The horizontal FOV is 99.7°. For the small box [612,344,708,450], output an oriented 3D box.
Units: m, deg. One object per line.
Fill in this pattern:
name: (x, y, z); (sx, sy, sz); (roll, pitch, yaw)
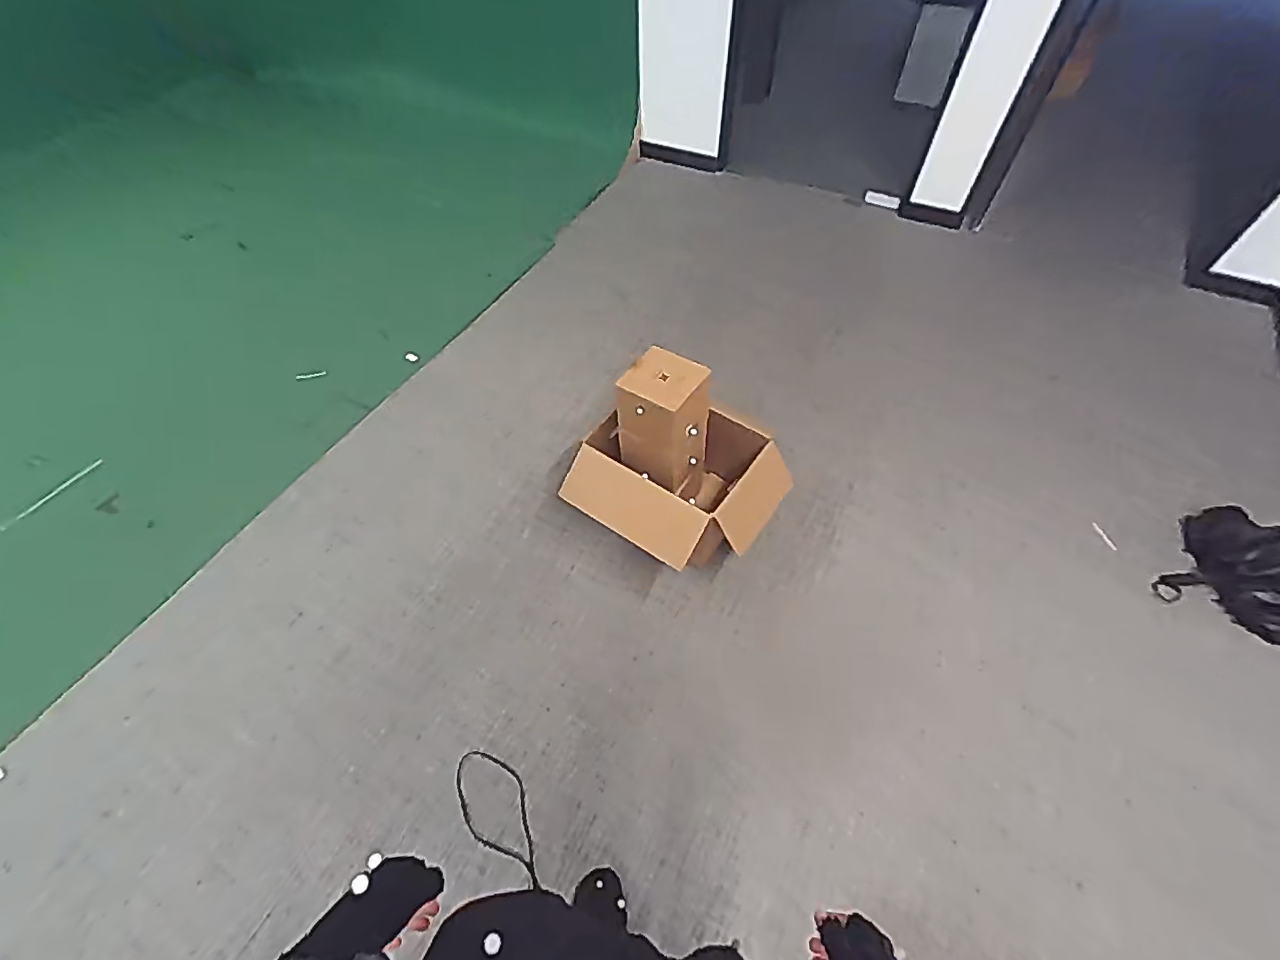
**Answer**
small box: (0.051, -0.204, 1.358); (0.179, 0.176, 0.168); (28, 61, 20)
